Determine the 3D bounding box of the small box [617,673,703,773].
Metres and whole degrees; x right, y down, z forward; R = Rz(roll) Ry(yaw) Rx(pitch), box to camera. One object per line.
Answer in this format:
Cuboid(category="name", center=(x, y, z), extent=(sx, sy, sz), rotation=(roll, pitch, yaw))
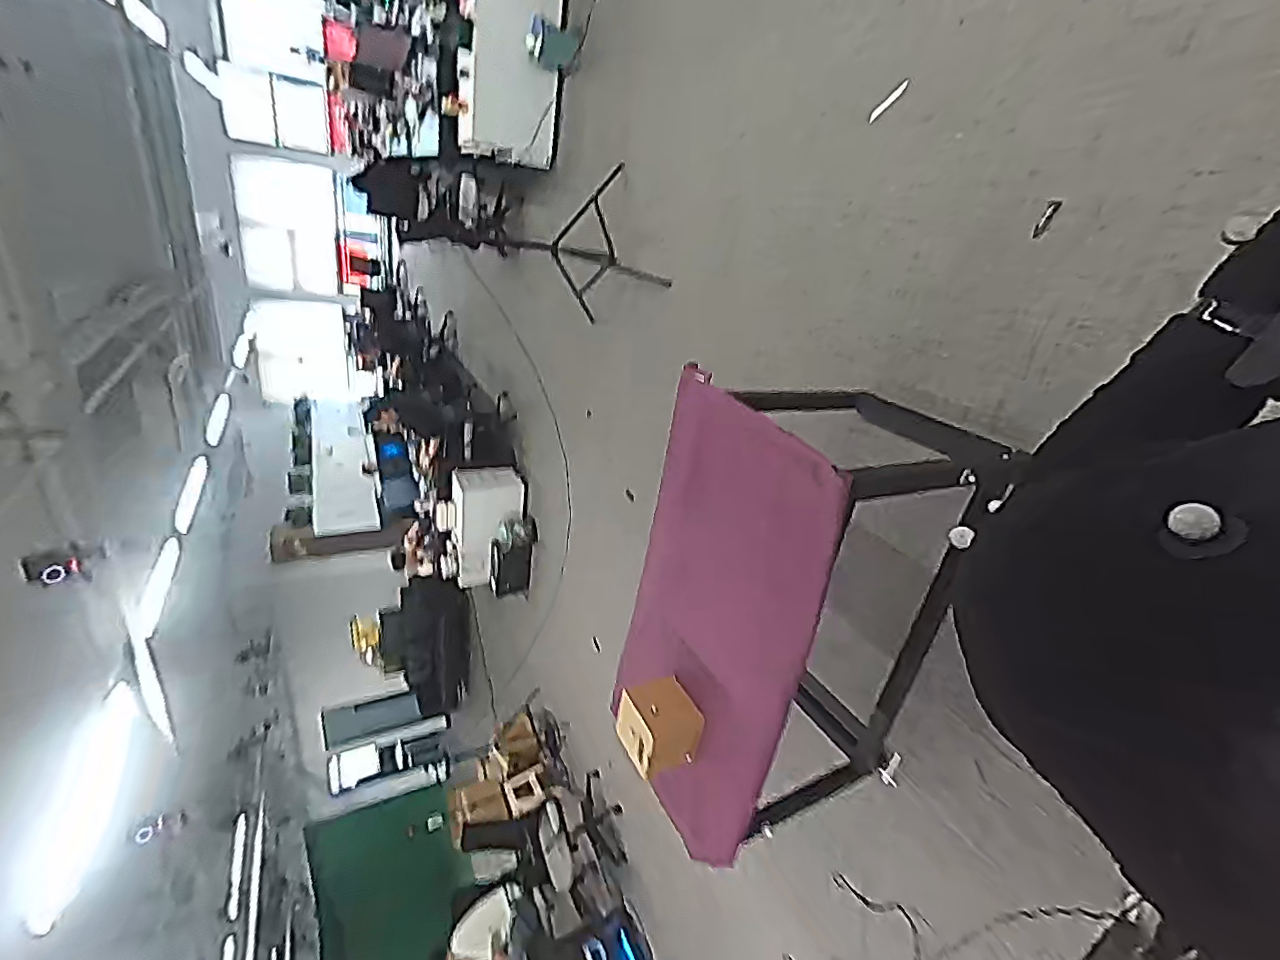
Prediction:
Cuboid(category="small box", center=(0.055, 0.677, 1.530), extent=(0.179, 0.176, 0.168), rotation=(44, 131, 49))
